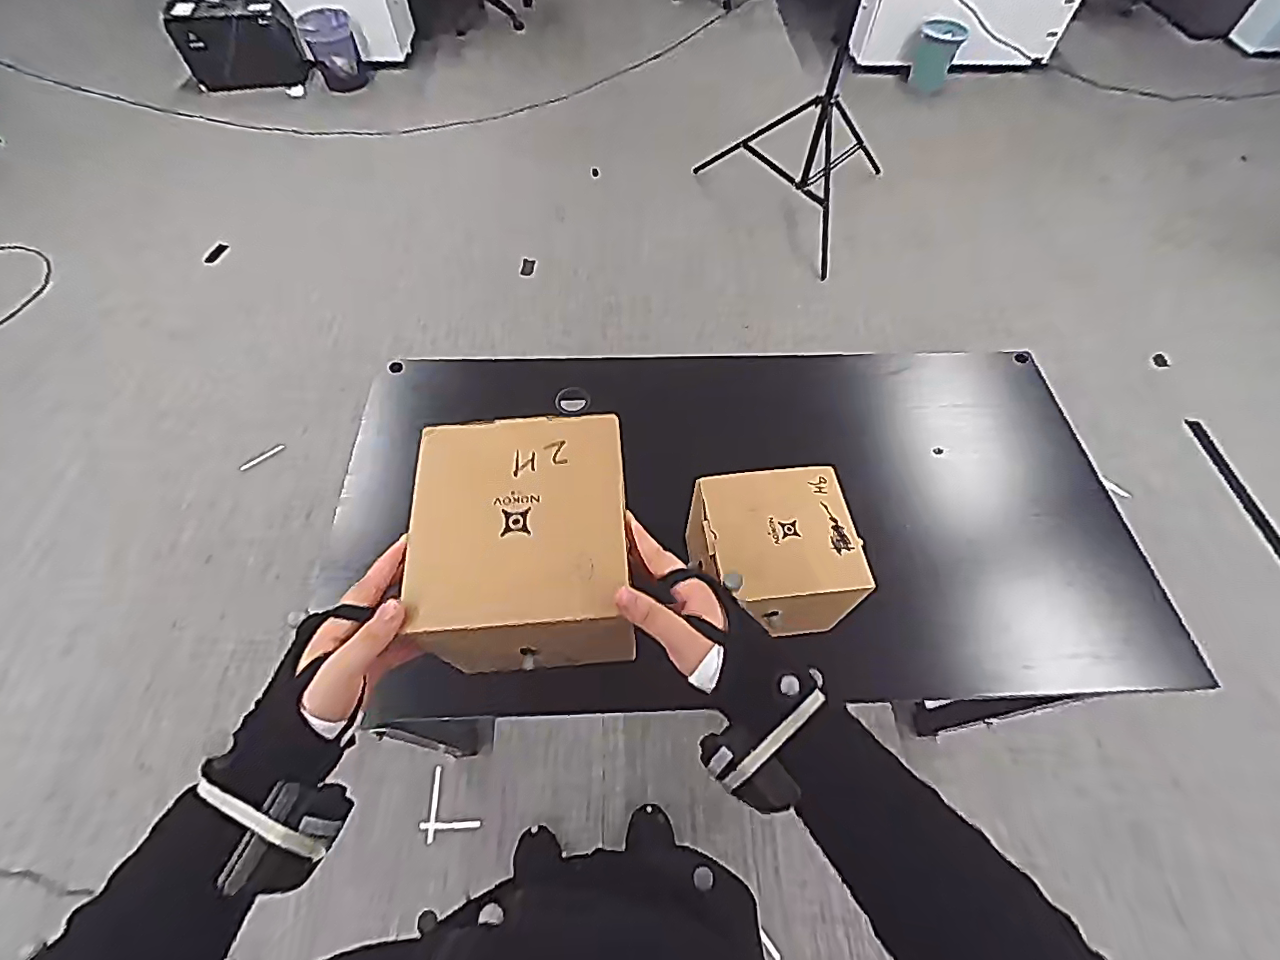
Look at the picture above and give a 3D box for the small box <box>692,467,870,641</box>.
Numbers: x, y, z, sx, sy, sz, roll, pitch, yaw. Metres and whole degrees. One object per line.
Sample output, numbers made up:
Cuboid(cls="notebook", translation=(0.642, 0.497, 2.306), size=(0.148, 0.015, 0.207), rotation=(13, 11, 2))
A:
Cuboid(cls="small box", translation=(0.165, 0.103, 0.710), size=(0.179, 0.176, 0.168), rotation=(-5, 58, -4))
